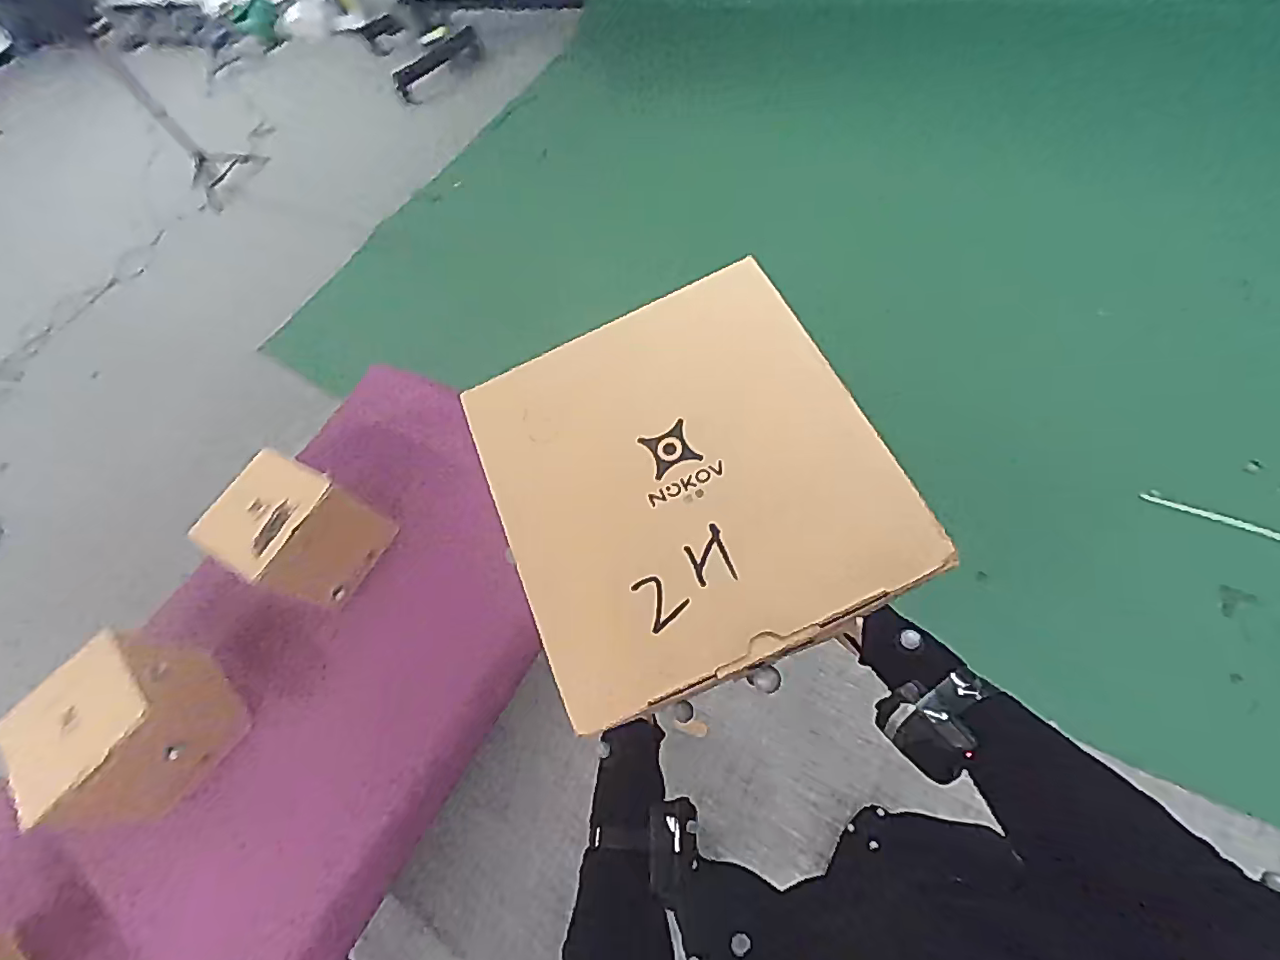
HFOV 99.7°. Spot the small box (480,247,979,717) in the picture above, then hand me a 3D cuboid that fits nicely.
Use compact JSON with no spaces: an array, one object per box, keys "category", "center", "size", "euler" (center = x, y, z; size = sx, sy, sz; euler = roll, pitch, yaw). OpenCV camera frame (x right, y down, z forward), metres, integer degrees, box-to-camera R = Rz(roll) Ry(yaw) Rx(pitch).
[{"category":"small box","center":[0.037,0.016,0.311],"size":[0.168,0.176,0.179],"euler":[-25,68,2]}]

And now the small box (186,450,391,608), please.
[{"category":"small box","center":[-0.538,0.084,0.852],"size":[0.179,0.176,0.168],"euler":[21,68,24]}]

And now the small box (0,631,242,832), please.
[{"category":"small box","center":[-0.706,0.343,0.746],"size":[0.179,0.176,0.168],"euler":[34,72,27]}]
